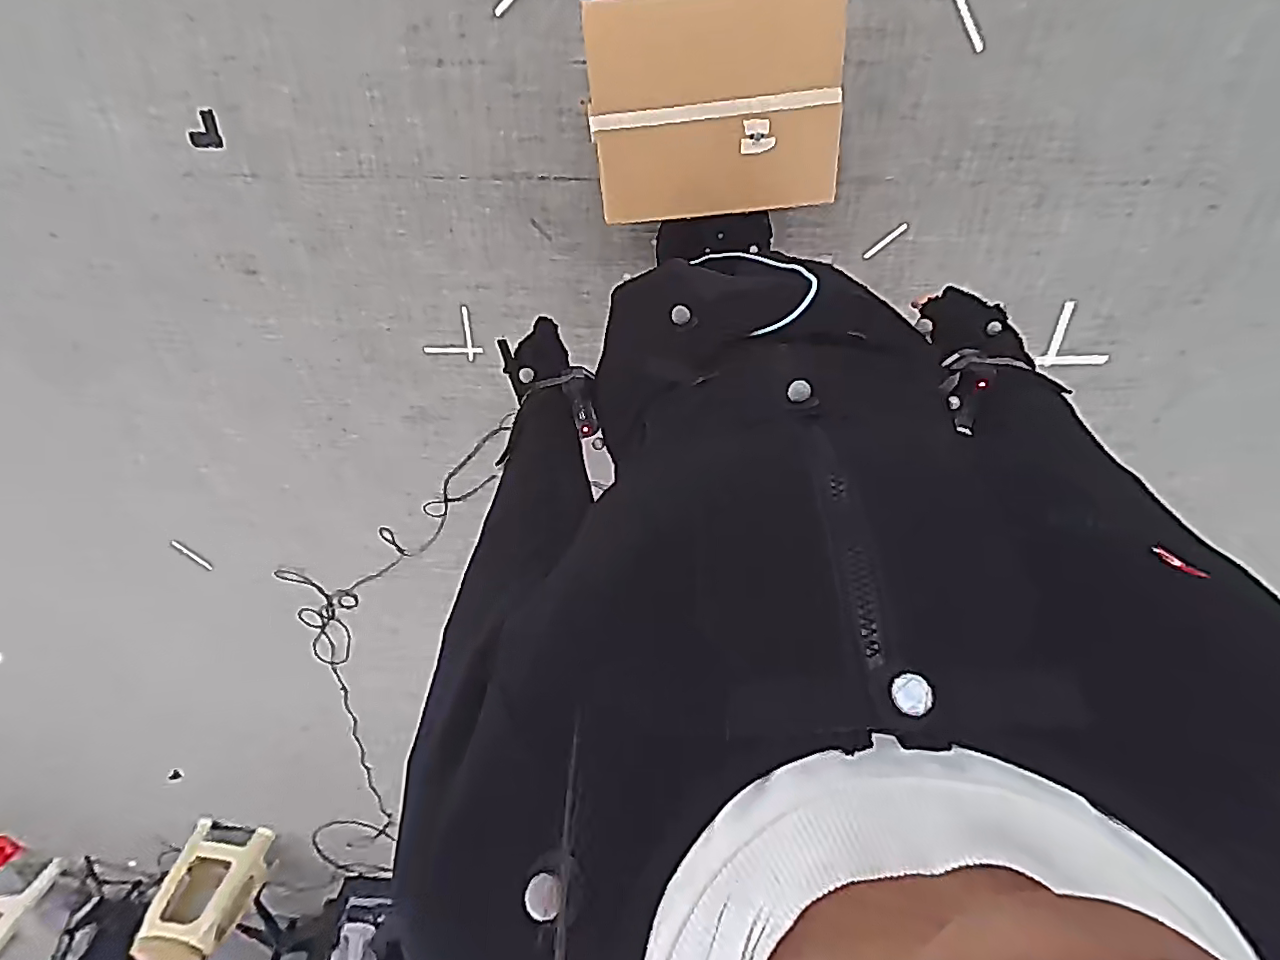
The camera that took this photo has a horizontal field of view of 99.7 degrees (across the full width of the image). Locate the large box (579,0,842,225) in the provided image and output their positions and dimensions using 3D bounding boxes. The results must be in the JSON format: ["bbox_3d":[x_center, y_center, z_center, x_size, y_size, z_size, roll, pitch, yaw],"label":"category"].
[{"bbox_3d":[0.119,-0.678,1.011,0.408,0.320,0.320,-4,120,3],"label":"large box"}]
